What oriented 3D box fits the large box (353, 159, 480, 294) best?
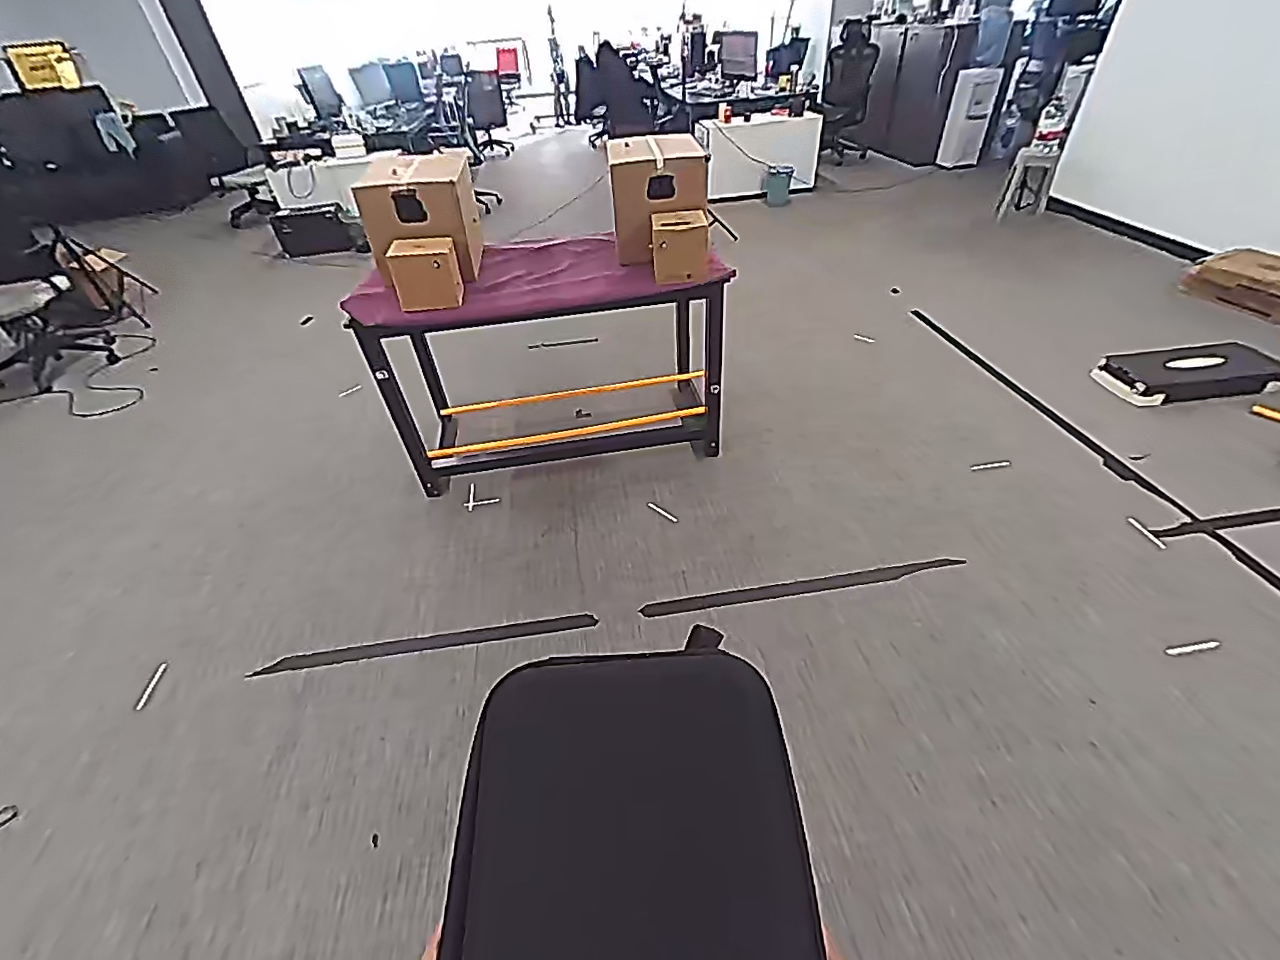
[{"bbox_3d":[-0.747,-0.890,1.880,0.320,0.320,0.408,-8,43,-6],"label":"large box"}]
